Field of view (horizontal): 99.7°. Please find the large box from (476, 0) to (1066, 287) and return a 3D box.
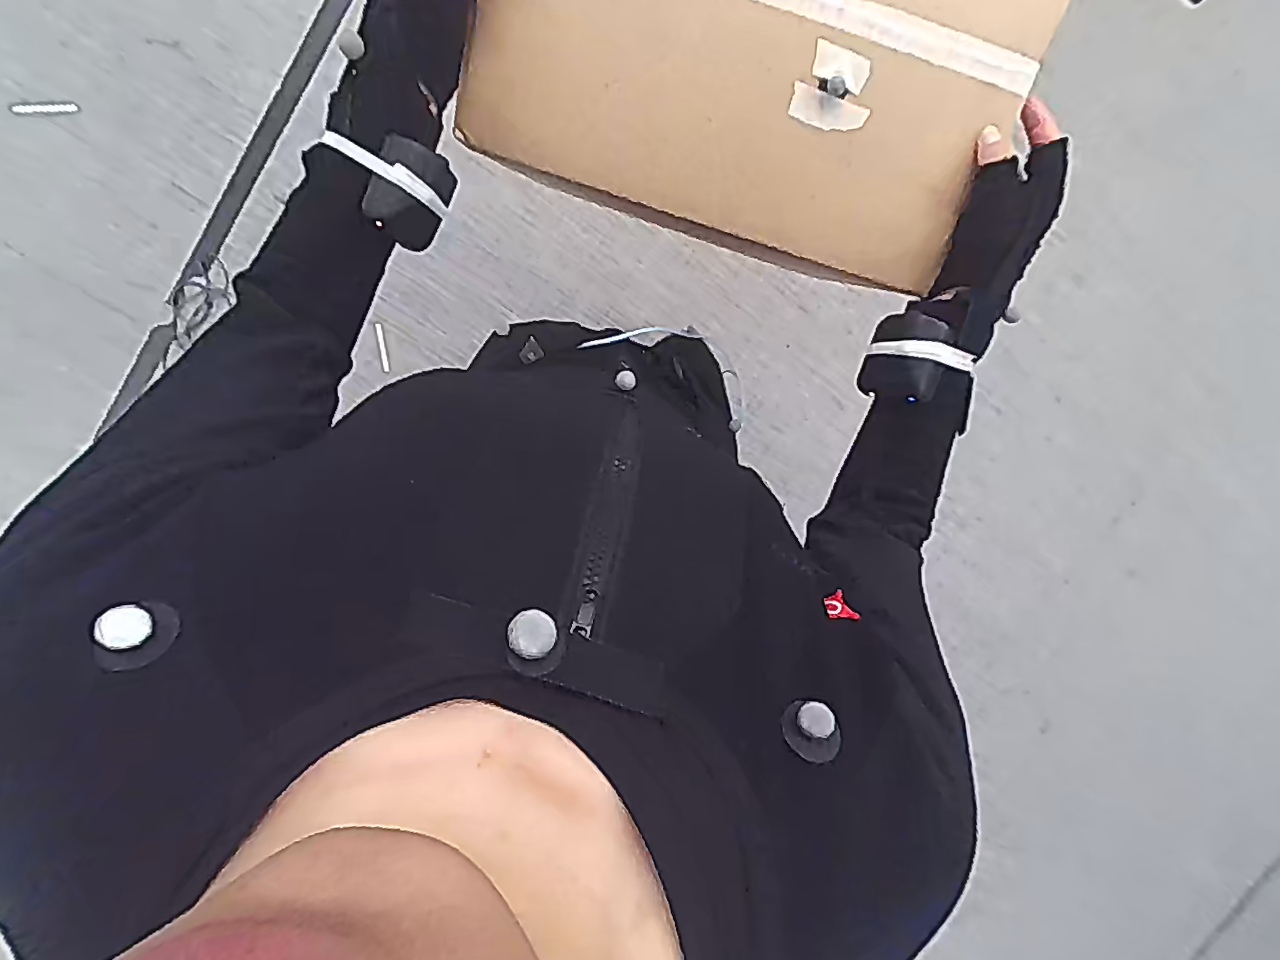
[{"bbox_3d":[0.101,-0.411,0.526,0.408,0.320,0.320,16,114,-6],"label":"large box"}]
